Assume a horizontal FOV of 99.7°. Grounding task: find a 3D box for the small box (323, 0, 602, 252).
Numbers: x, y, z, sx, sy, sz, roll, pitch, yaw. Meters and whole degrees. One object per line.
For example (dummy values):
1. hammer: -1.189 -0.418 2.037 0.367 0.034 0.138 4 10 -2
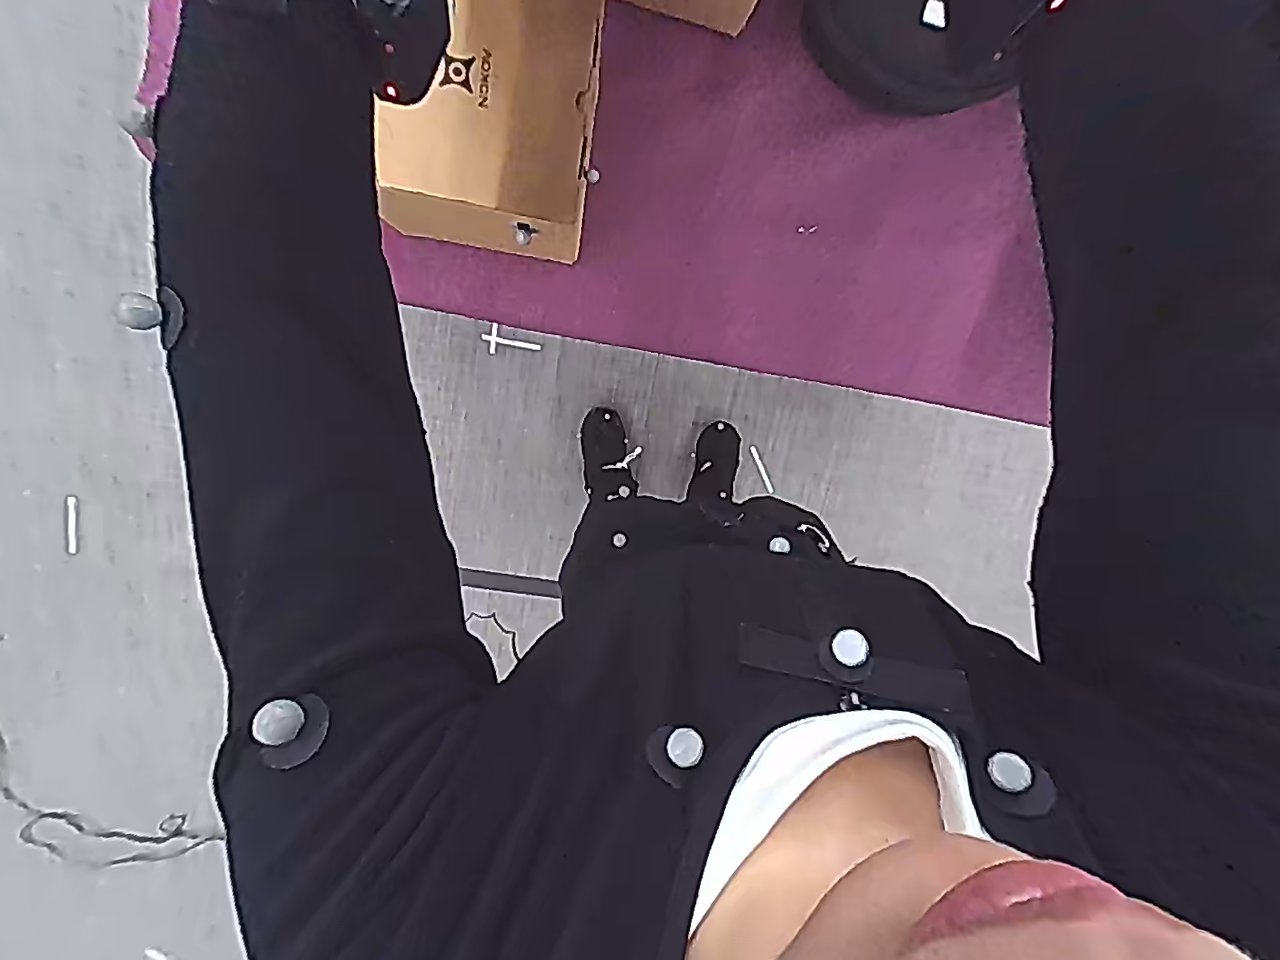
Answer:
1. small box: -0.131 -0.299 0.446 0.179 0.176 0.168 6 102 -9
